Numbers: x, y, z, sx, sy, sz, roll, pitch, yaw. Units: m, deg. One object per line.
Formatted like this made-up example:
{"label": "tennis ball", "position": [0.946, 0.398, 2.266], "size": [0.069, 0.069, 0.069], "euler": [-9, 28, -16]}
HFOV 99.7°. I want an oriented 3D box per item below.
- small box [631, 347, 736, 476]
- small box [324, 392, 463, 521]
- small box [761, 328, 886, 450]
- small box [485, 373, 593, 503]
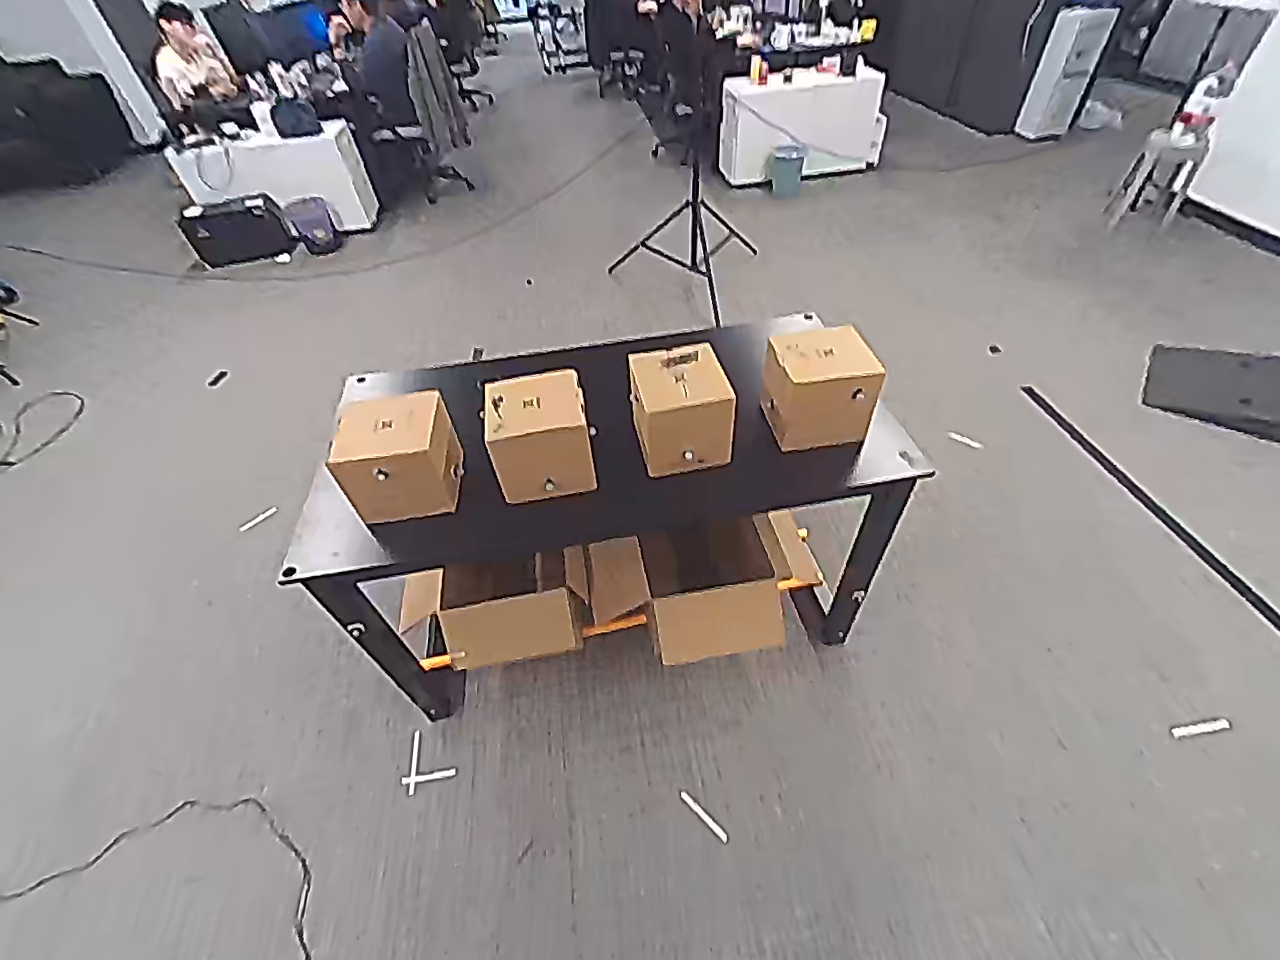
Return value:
{"label": "small box", "position": [0.078, -0.134, 1.060], "size": [0.168, 0.176, 0.179], "euler": [-11, 47, -5]}
{"label": "small box", "position": [-0.447, -0.040, 1.012], "size": [0.179, 0.176, 0.168], "euler": [-8, 48, -5]}
{"label": "small box", "position": [0.354, -0.179, 1.079], "size": [0.179, 0.176, 0.168], "euler": [-8, 45, -2]}
{"label": "small box", "position": [-0.187, -0.079, 1.028], "size": [0.179, 0.176, 0.168], "euler": [-10, 46, -6]}
